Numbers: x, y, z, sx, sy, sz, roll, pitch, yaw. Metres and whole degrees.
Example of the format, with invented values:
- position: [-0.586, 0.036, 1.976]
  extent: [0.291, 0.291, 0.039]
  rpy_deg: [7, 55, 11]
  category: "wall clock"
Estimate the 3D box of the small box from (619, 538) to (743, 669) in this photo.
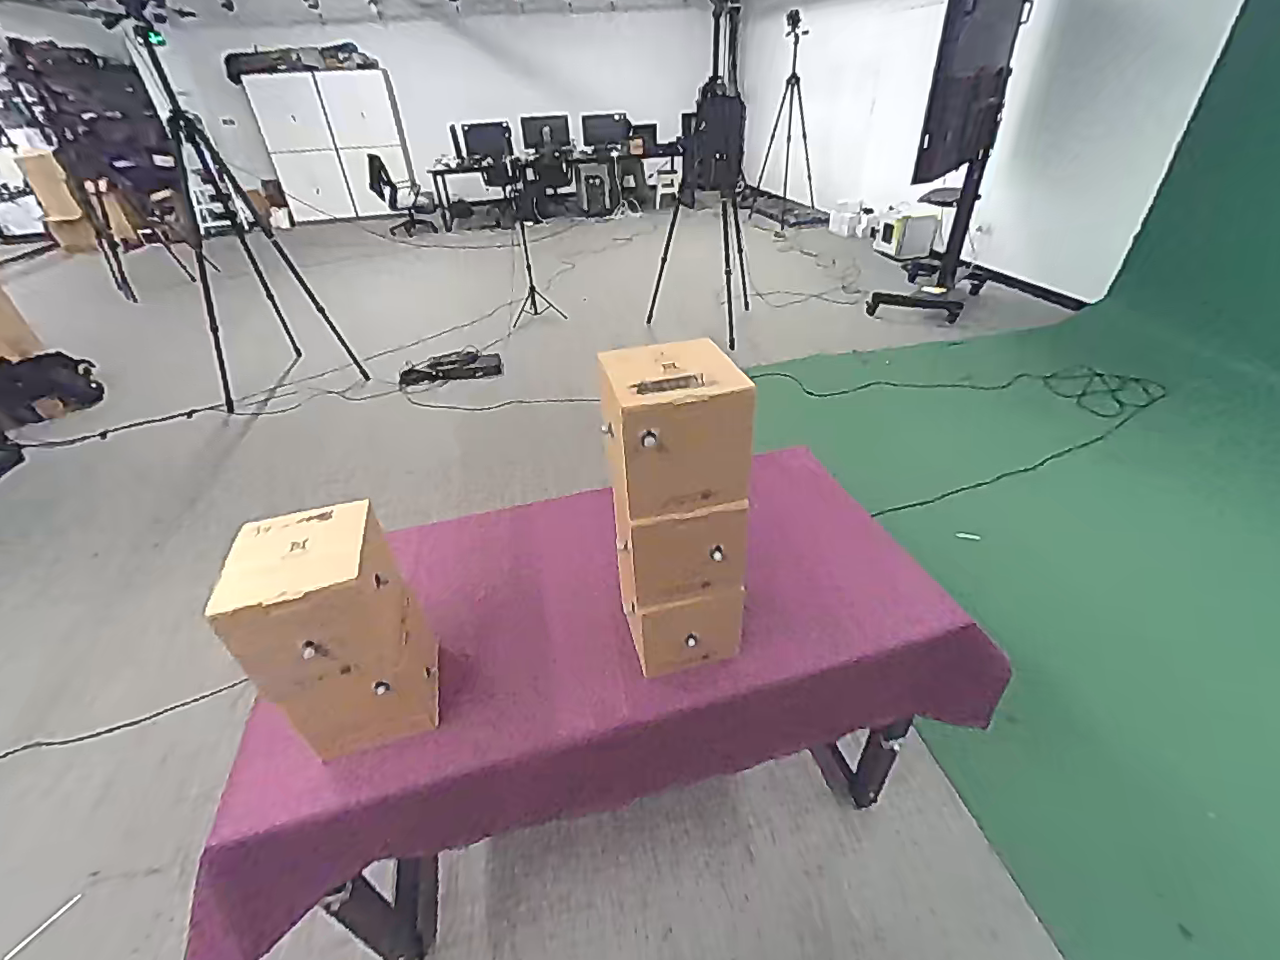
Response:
- position: [0.066, 0.198, 0.922]
  extent: [0.168, 0.176, 0.179]
  rpy_deg: [-11, 36, -9]
  category: "small box"

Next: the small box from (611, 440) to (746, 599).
- position: [0.055, 0.064, 0.829]
  extent: [0.168, 0.176, 0.179]
  rpy_deg: [-10, 36, -8]
  category: "small box"

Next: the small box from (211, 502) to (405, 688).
- position: [-0.436, 0.161, 0.748]
  extent: [0.168, 0.176, 0.179]
  rpy_deg: [-12, 37, -13]
  category: "small box"

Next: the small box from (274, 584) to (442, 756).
- position: [-0.422, 0.295, 0.842]
  extent: [0.179, 0.176, 0.168]
  rpy_deg: [-12, 36, -12]
  category: "small box"
